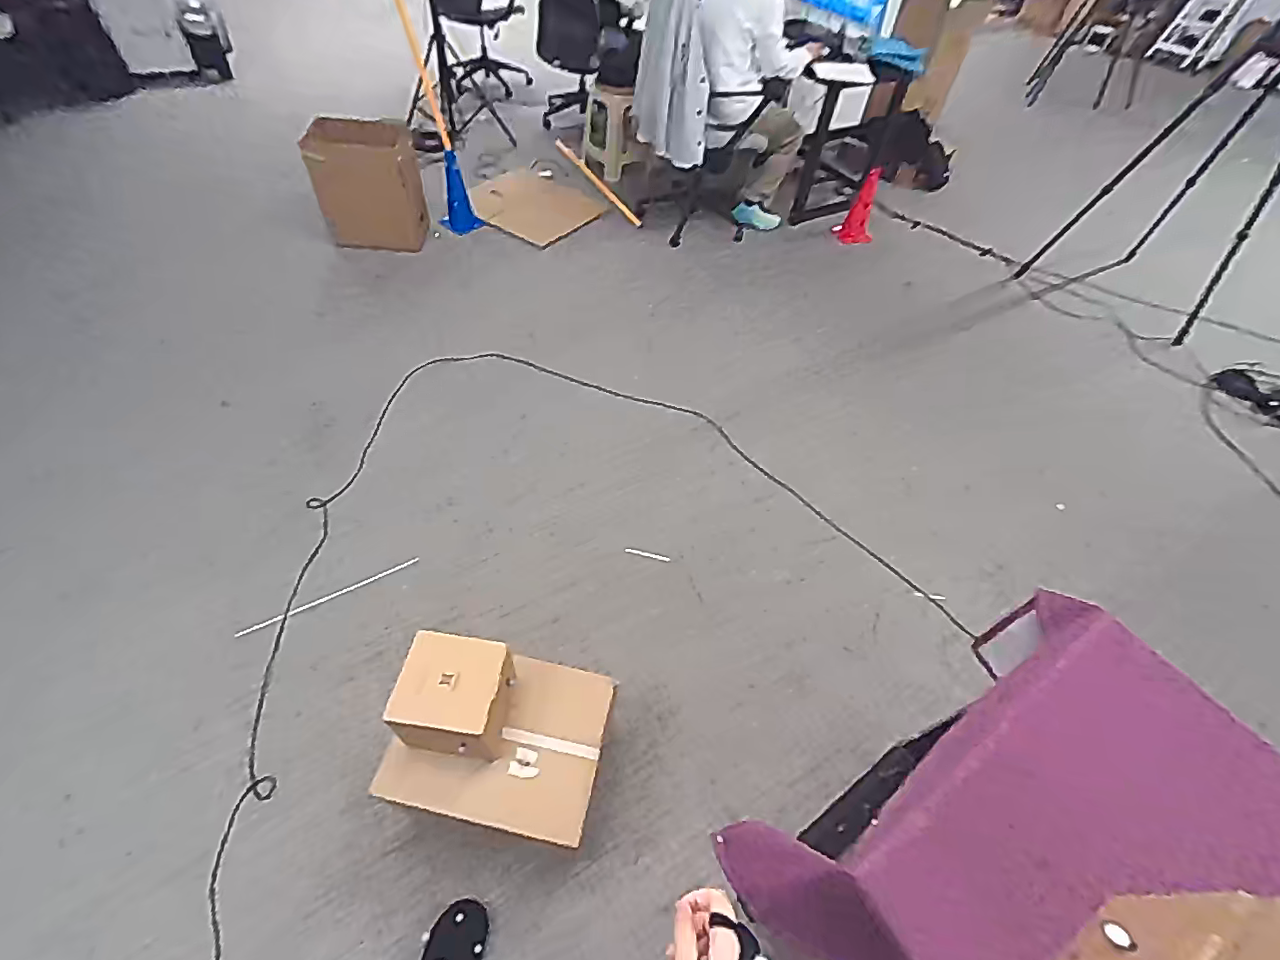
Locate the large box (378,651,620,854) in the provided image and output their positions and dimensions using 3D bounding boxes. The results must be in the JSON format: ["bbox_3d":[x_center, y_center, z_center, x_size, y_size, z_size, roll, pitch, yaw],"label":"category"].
[{"bbox_3d":[-0.280,0.589,1.194,0.408,0.320,0.320,12,52,3],"label":"large box"}]

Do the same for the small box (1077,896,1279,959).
[{"bbox_3d":[0.522,0.517,0.481,0.168,0.176,0.179,-22,56,-21],"label":"small box"}]

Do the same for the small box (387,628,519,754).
[{"bbox_3d":[-0.338,0.403,1.021,0.179,0.176,0.168,9,50,2],"label":"small box"}]
